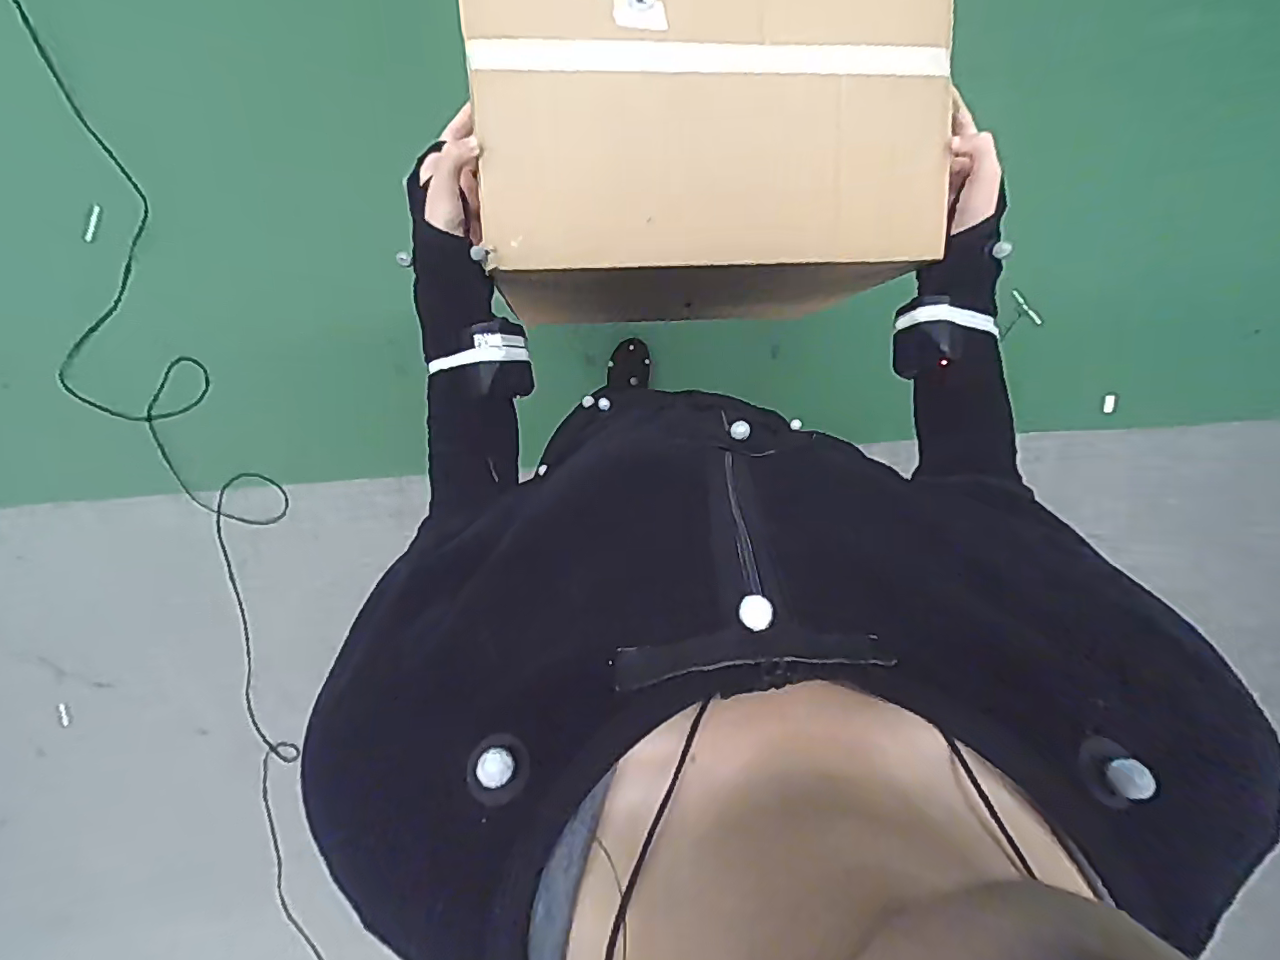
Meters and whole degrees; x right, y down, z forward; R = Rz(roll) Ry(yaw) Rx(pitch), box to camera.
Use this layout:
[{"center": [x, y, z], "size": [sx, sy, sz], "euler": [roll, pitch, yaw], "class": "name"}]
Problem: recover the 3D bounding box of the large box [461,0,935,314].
[{"center": [0.043, -0.368, 0.599], "size": [0.408, 0.320, 0.320], "euler": [-4, 98, -6], "class": "large box"}]
